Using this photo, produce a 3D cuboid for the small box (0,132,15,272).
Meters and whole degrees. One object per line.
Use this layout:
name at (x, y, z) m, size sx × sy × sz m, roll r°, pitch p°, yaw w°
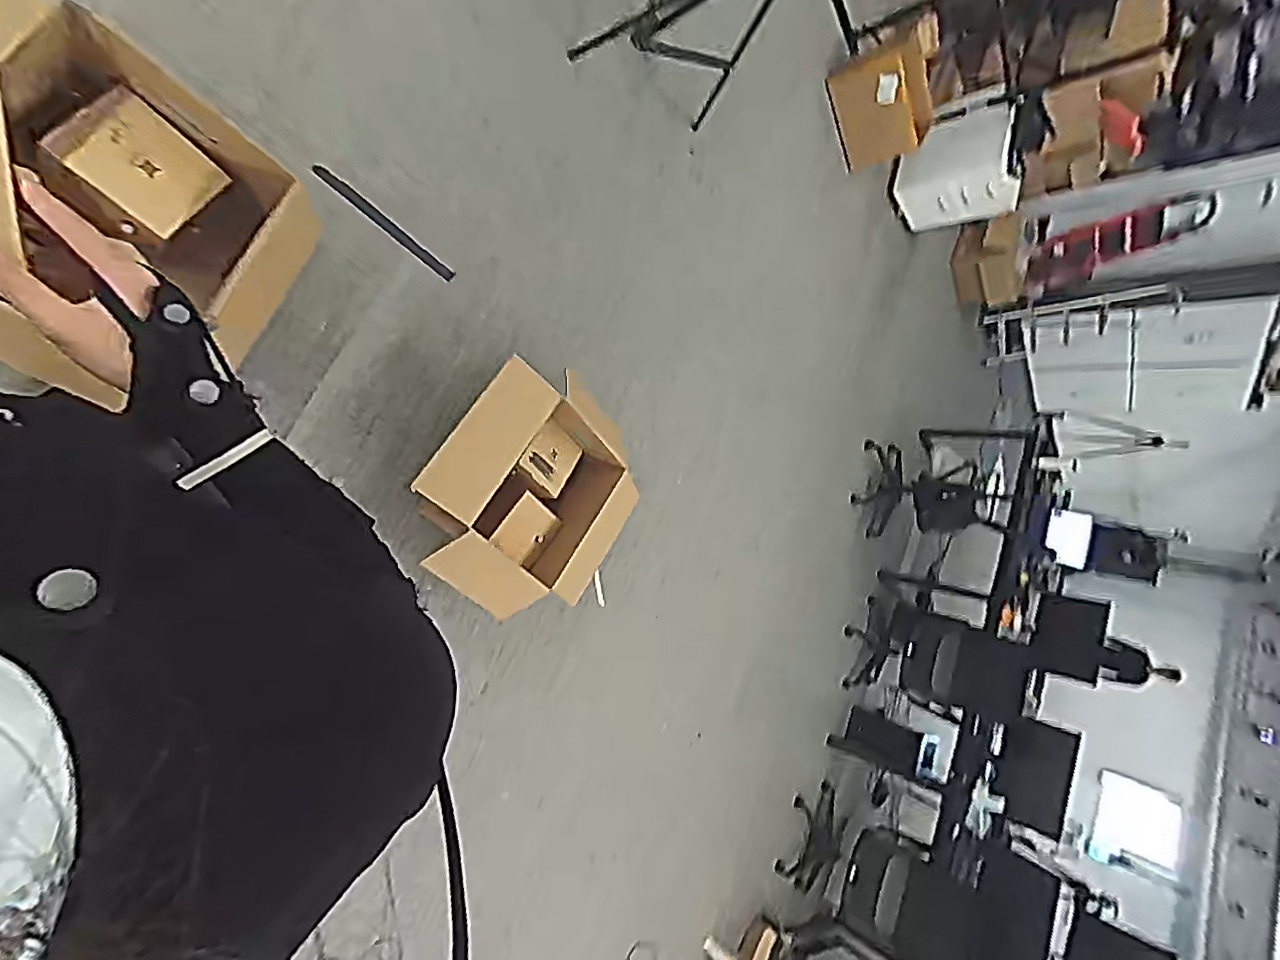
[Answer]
small box at (-0.478, -0.205, 0.287) m, size 0.179 × 0.176 × 0.168 m, roll -9°, pitch 106°, yaw -51°
